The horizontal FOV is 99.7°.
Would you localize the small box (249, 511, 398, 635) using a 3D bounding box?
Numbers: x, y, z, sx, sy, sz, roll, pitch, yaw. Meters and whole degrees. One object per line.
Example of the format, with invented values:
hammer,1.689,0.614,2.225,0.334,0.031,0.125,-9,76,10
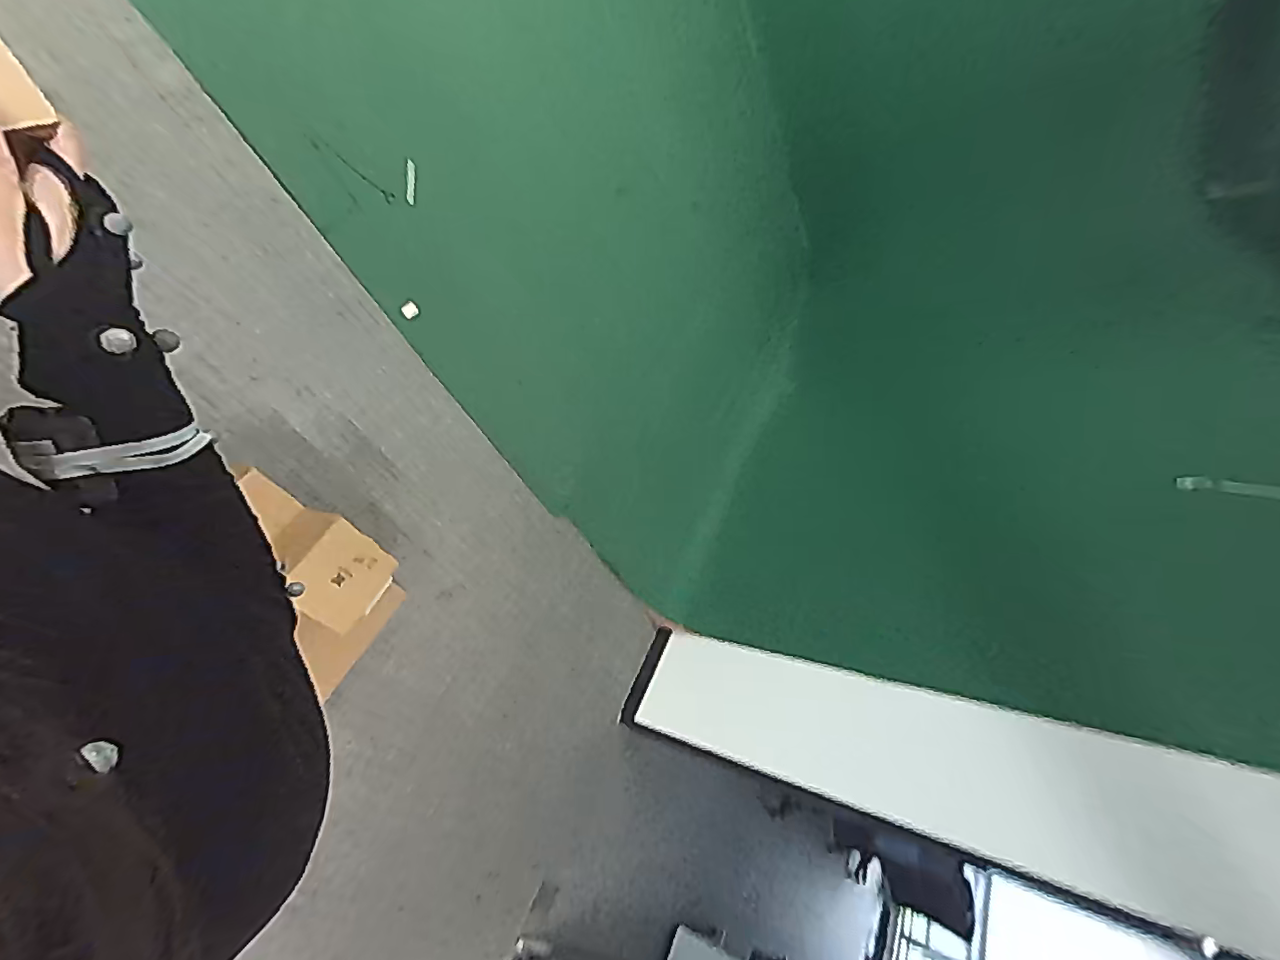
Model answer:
small box,-0.641,0.181,1.090,0.179,0.176,0.168,-61,137,-31
